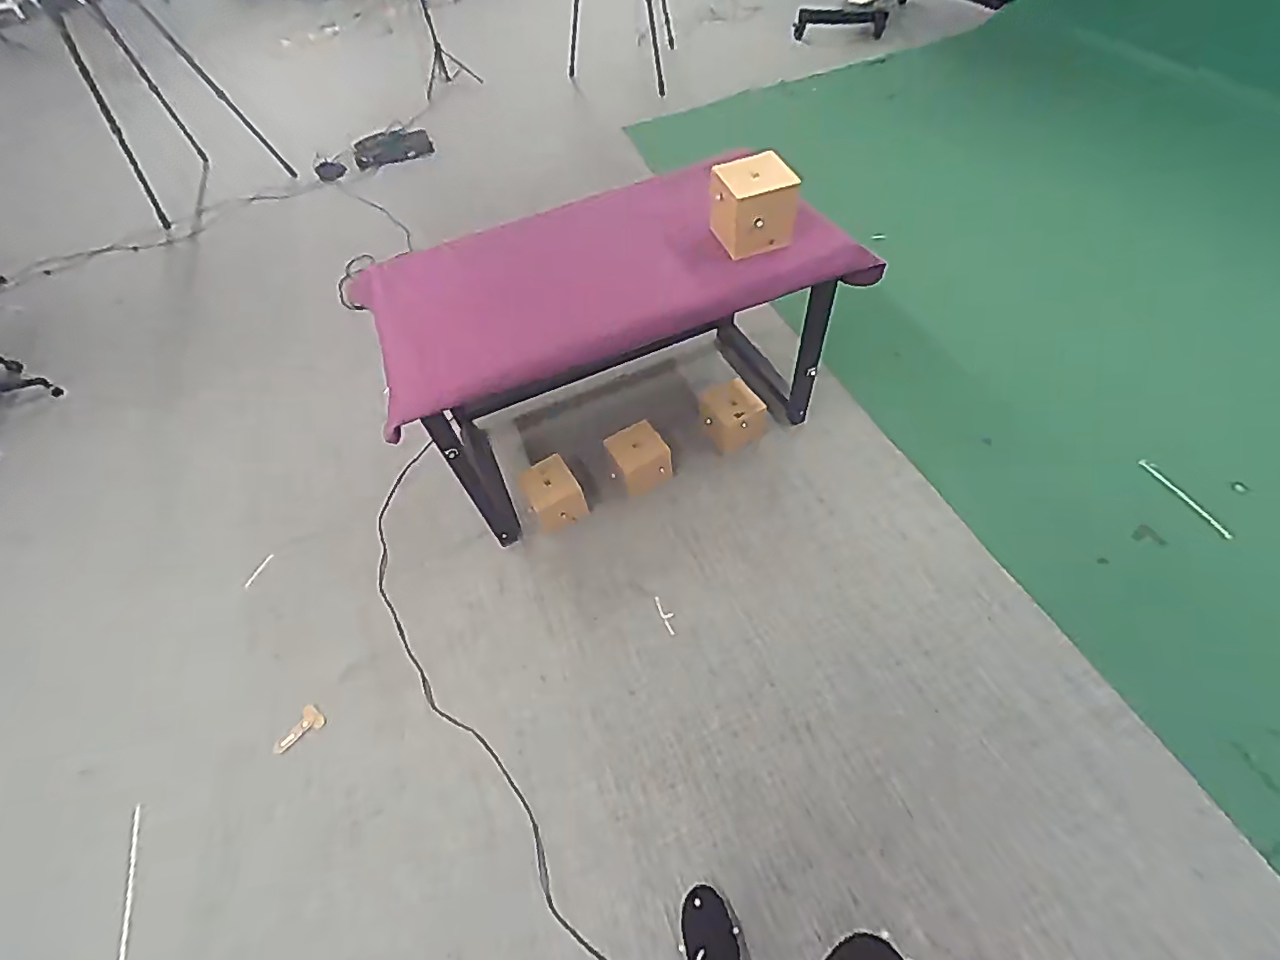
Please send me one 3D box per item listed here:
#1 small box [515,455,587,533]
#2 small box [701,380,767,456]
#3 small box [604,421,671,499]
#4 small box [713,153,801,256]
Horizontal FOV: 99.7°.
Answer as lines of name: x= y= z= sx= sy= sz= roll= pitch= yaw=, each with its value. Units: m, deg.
small box: x=-0.293 y=0.054 z=1.815 sx=0.168 sy=0.176 sz=0.179 roll=-29 pitch=57 yaw=-13
small box: x=0.330 y=-0.220 z=1.938 sx=0.168 sy=0.176 sz=0.179 roll=-27 pitch=57 yaw=-13
small box: x=-0.005 y=-0.067 z=1.869 sx=0.179 sy=0.176 sz=0.168 roll=-28 pitch=56 yaw=-12
small box: x=0.294 y=-0.697 z=1.388 sx=0.168 sy=0.176 sz=0.179 roll=-17 pitch=54 yaw=-5
